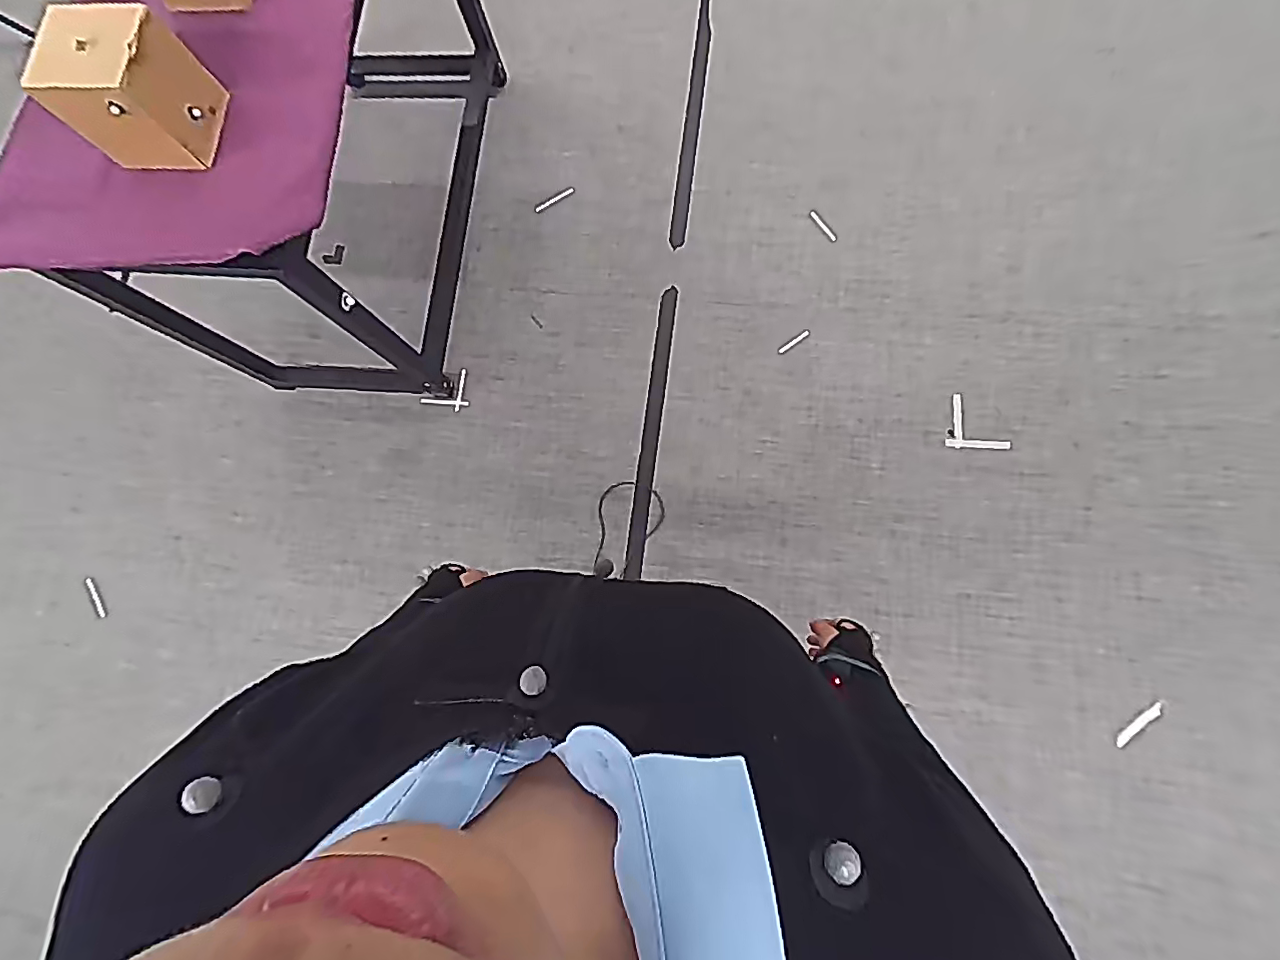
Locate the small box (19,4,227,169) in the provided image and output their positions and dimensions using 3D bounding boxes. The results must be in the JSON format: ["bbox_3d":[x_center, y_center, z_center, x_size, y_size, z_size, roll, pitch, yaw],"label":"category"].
[{"bbox_3d":[-0.875,-0.668,0.933,0.179,0.176,0.168,3,78,4],"label":"small box"}]

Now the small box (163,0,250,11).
[{"bbox_3d":[-0.849,-1.015,0.998,0.179,0.176,0.168,4,80,5],"label":"small box"}]
